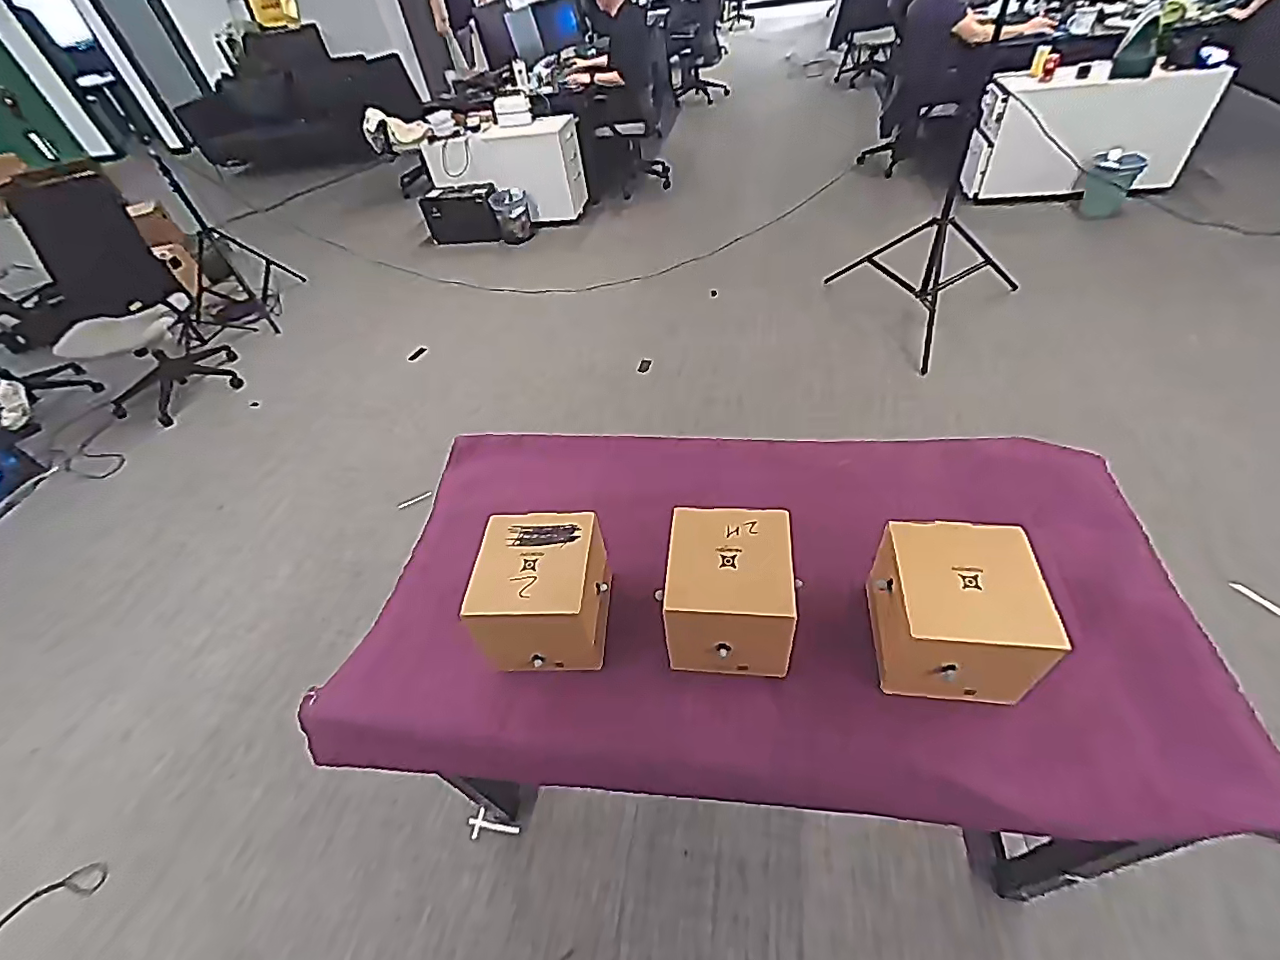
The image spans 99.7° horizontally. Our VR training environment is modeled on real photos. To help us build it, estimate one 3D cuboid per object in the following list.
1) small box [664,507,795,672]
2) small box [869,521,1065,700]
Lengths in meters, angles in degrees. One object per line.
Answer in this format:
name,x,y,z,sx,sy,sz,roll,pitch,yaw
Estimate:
small box,0.131,0.159,0.786,0.168,0.176,0.179,2,45,9
small box,0.416,0.175,0.726,0.168,0.176,0.179,1,47,11
